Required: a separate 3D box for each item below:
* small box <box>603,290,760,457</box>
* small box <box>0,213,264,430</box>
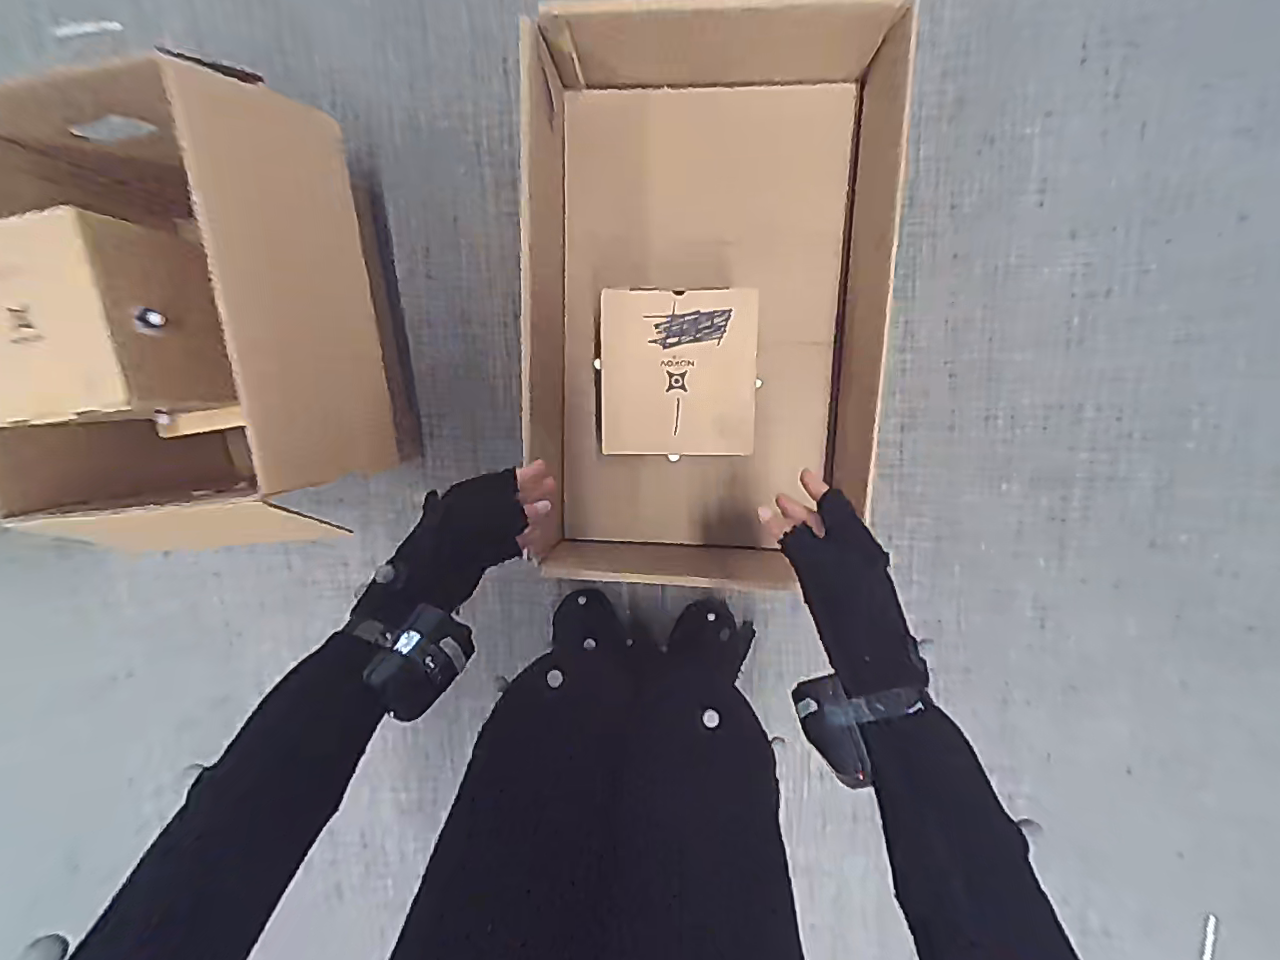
[{"bbox_3d":[0.048,-0.121,0.653,0.168,0.176,0.179,1,98,5],"label":"small box"},{"bbox_3d":[-0.542,-0.155,0.570,0.168,0.176,0.179,-6,99,6],"label":"small box"}]
